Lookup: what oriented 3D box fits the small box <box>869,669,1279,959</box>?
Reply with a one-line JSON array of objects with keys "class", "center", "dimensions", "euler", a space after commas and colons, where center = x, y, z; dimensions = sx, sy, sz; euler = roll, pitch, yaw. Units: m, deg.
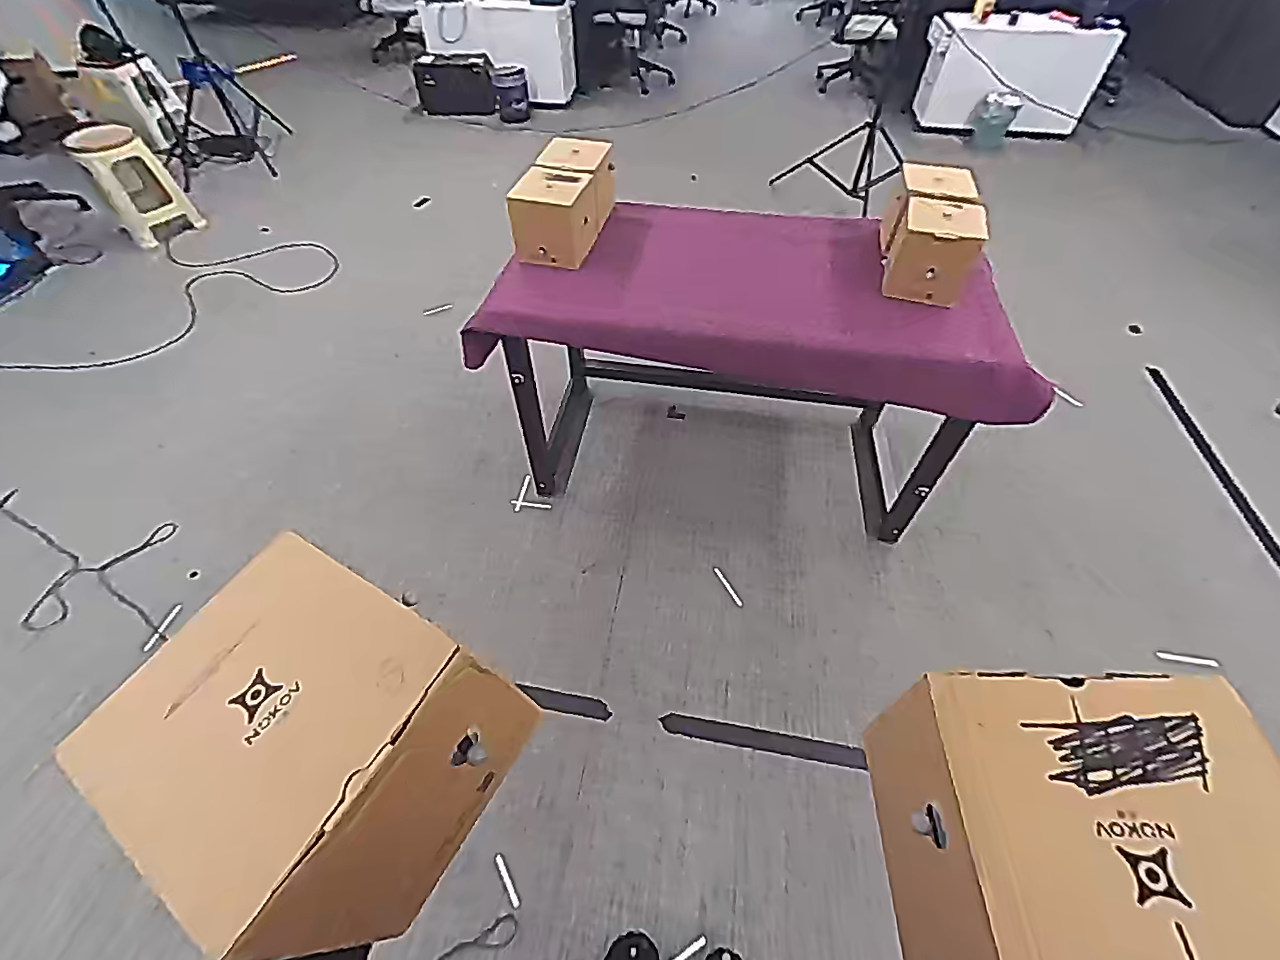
[{"class": "small box", "center": [0.258, 0.231, 0.335], "dimensions": [0.168, 0.176, 0.179], "euler": [-2, 54, 6]}]

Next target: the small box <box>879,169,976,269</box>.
[{"class": "small box", "center": [0.733, -0.676, 1.400], "dimensions": [0.168, 0.176, 0.179], "euler": [11, 51, 8]}]

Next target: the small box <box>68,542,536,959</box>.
[{"class": "small box", "center": [-0.200, 0.176, 0.372], "dimensions": [0.179, 0.176, 0.168], "euler": [21, 60, 24]}]

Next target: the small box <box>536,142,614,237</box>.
[{"class": "small box", "center": [-0.173, -0.802, 1.493], "dimensions": [0.168, 0.176, 0.179], "euler": [11, 53, 8]}]
